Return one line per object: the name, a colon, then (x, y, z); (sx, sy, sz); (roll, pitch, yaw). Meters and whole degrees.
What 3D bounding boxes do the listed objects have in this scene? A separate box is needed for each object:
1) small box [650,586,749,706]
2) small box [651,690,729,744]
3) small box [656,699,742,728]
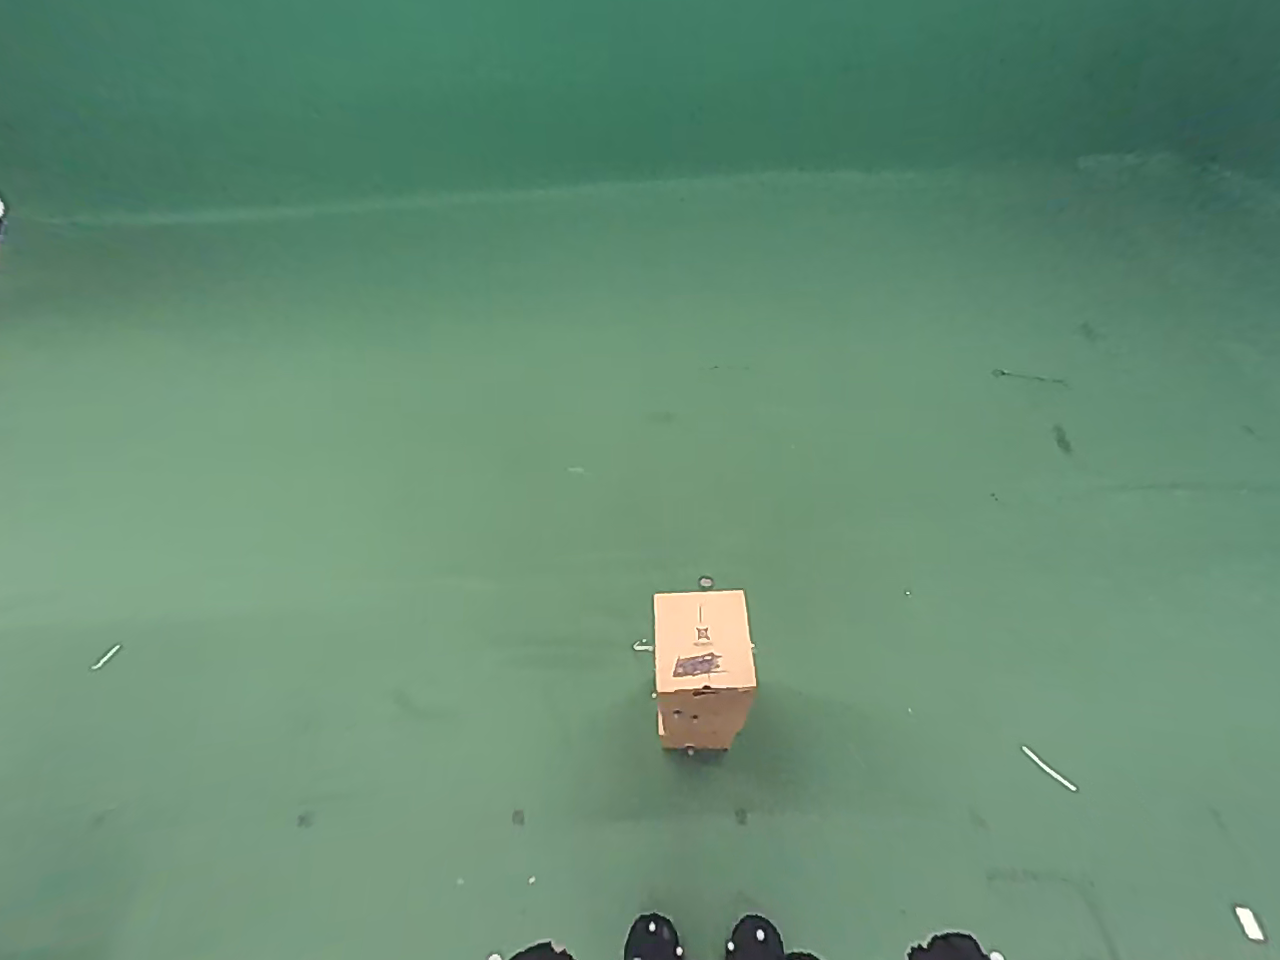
small box: (0.105, 0.313, 1.000); (0.168, 0.176, 0.179); (-2, 54, 2)
small box: (0.114, 0.496, 1.249); (0.168, 0.176, 0.179); (-1, 55, 5)
small box: (0.116, 0.407, 1.134); (0.168, 0.176, 0.179); (-3, 54, 2)
